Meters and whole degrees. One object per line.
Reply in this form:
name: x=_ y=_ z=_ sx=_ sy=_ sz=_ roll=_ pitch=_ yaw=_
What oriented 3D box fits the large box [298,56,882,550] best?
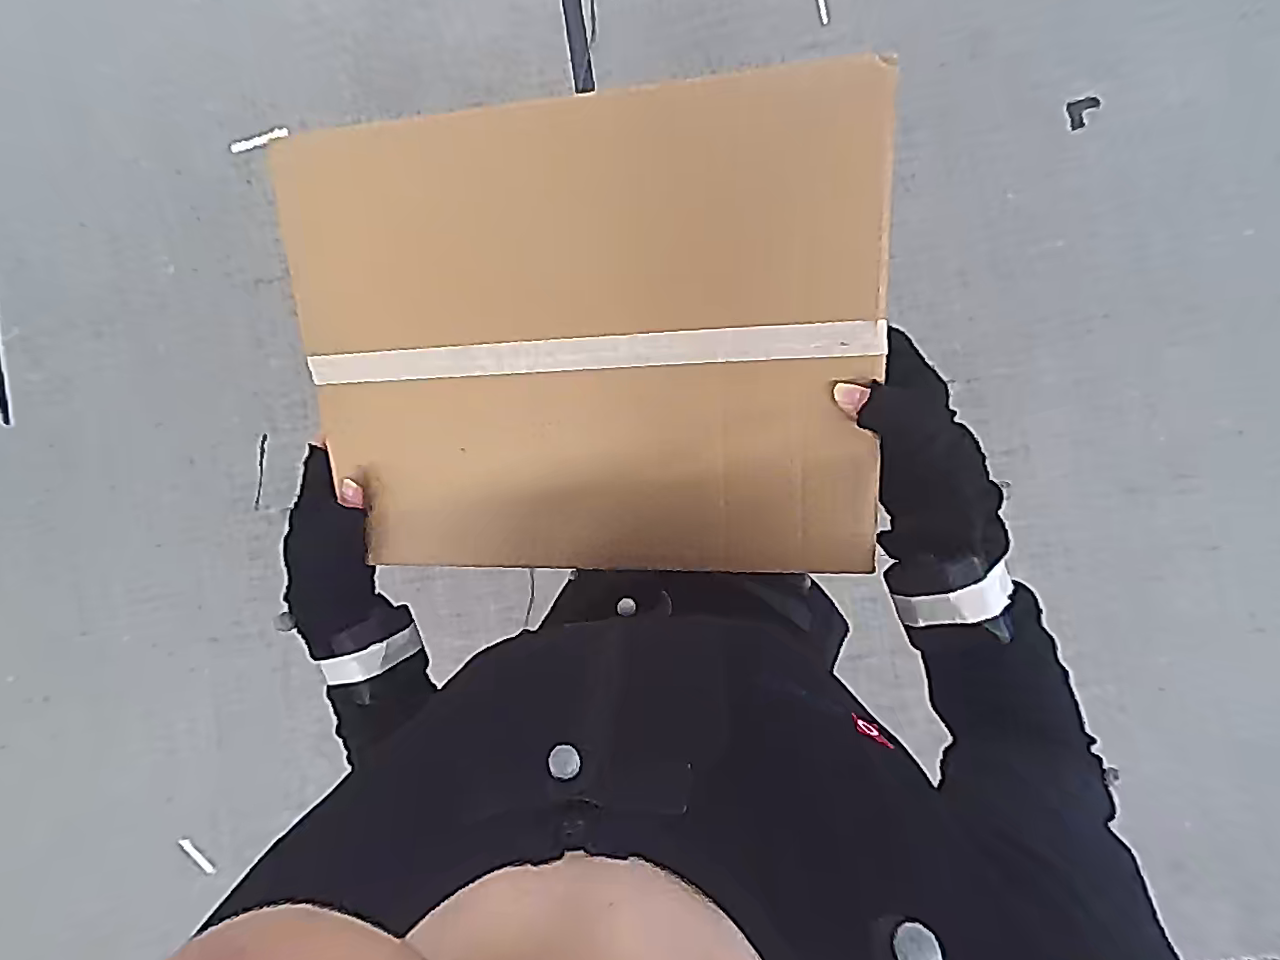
large box: x=-0.020 y=-0.130 z=0.527 sx=0.408 sy=0.320 sz=0.320 roll=-1 pitch=105 yaw=10
